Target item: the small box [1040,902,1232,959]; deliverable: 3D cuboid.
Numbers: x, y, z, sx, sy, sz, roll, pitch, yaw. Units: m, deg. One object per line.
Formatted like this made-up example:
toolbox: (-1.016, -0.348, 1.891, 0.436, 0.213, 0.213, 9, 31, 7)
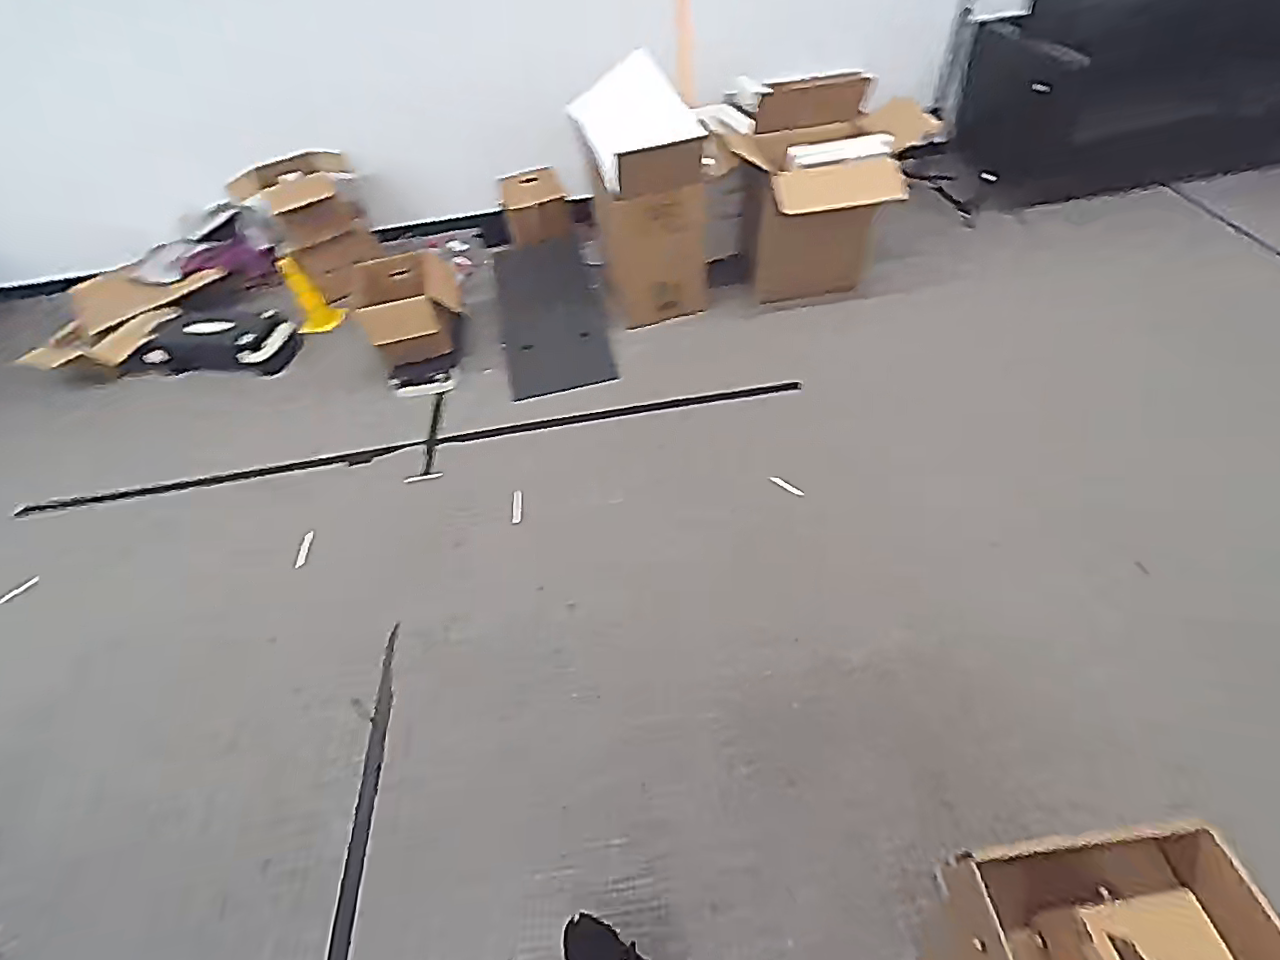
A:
small box: (0.724, 0.727, 0.777, 0.179, 0.176, 0.168, -8, 50, -1)
